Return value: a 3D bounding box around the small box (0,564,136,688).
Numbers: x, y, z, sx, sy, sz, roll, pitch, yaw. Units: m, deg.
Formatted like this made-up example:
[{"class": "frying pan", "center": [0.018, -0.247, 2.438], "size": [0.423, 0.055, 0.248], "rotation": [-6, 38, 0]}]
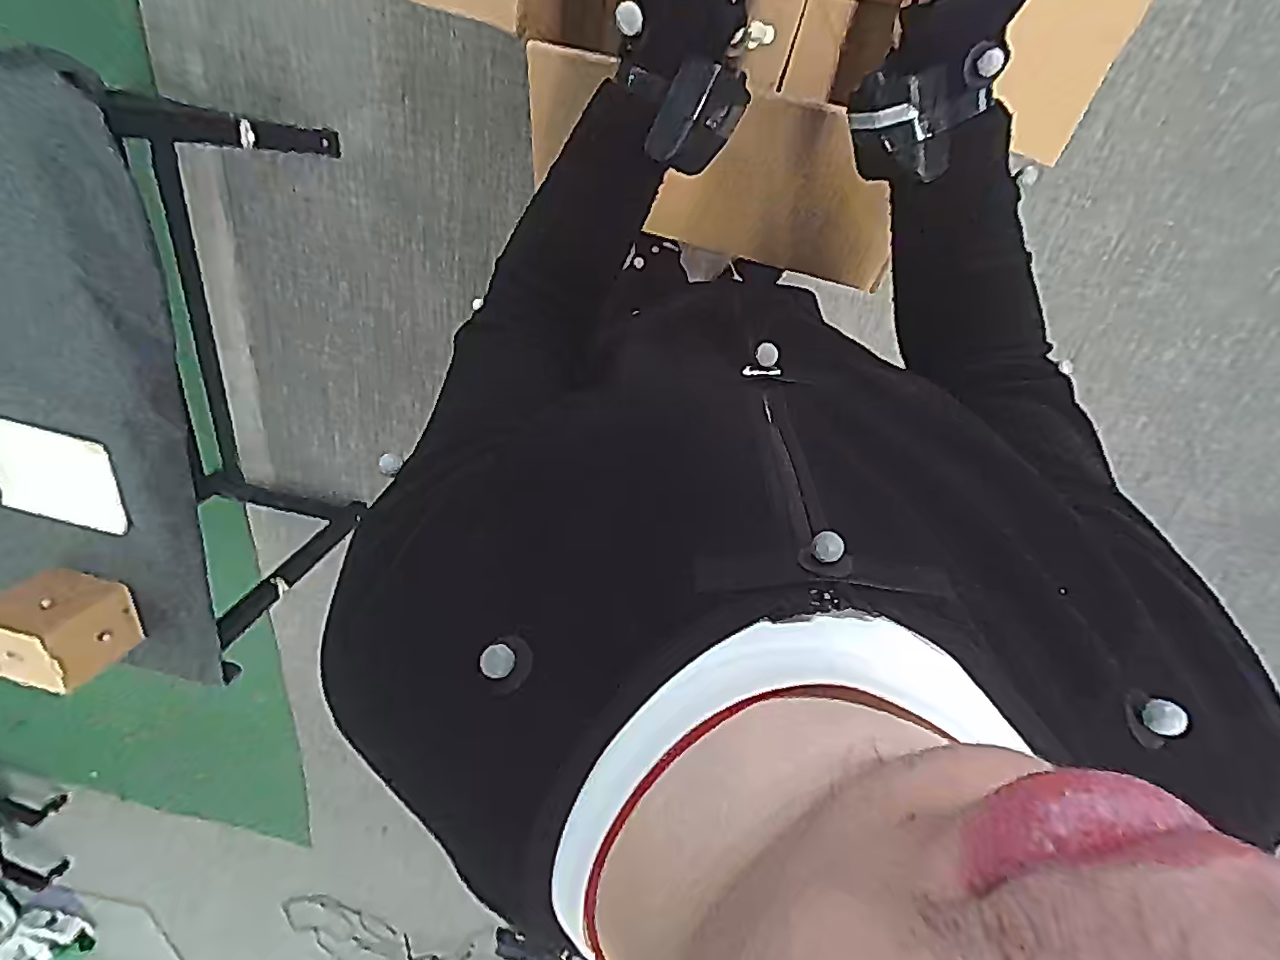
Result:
[{"class": "small box", "center": [-1.218, 0.299, 1.135], "size": [0.179, 0.176, 0.168], "rotation": [14, 118, 1]}]
